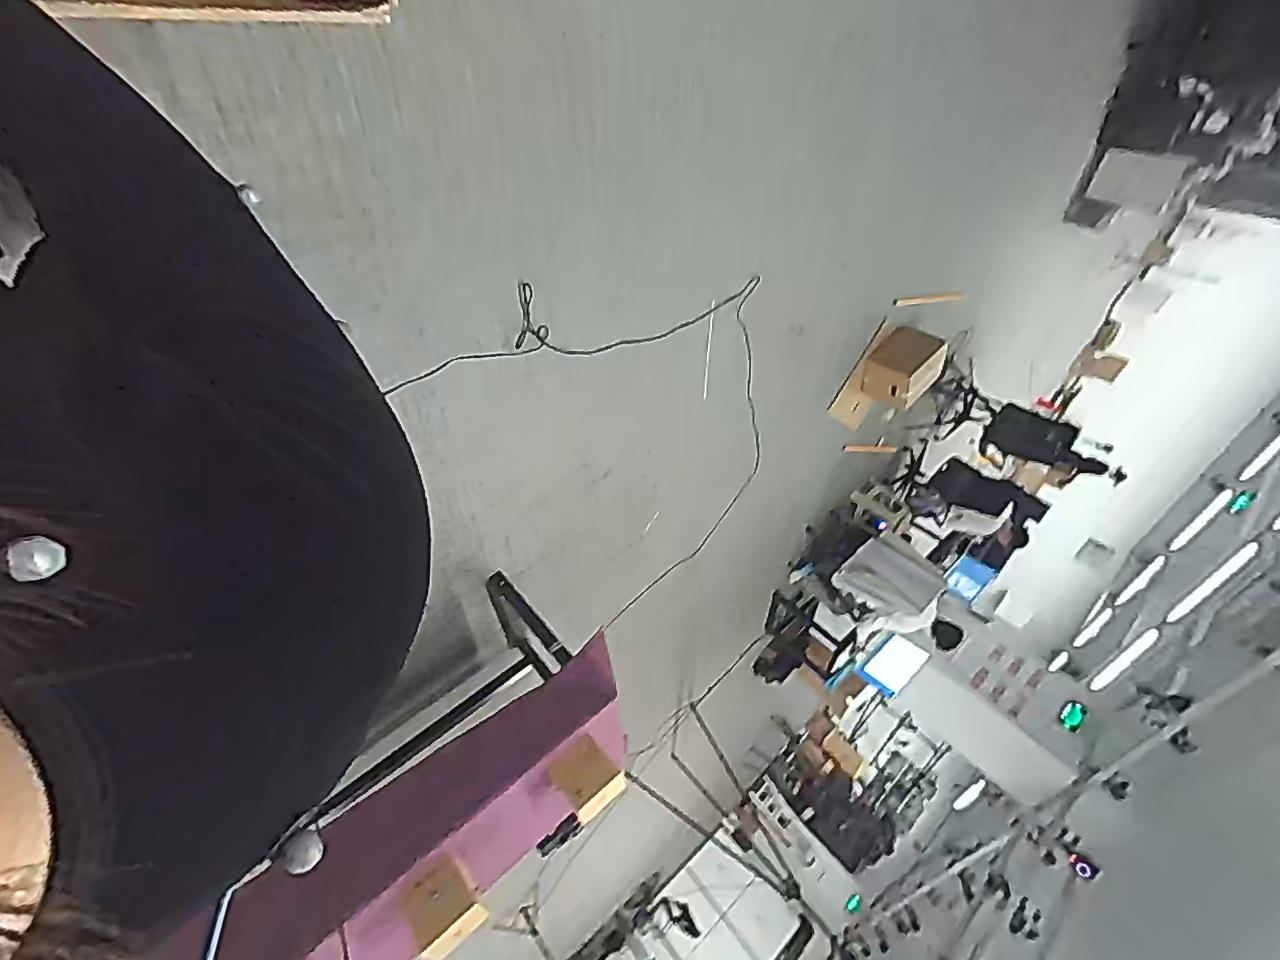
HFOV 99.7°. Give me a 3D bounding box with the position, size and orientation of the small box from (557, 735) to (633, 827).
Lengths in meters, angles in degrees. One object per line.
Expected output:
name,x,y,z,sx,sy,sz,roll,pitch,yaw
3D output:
small box,-0.145,0.969,1.752,0.179,0.176,0.168,-32,141,-25

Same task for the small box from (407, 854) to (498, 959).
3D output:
small box,-0.527,1.200,1.519,0.168,0.176,0.179,-30,140,-27
